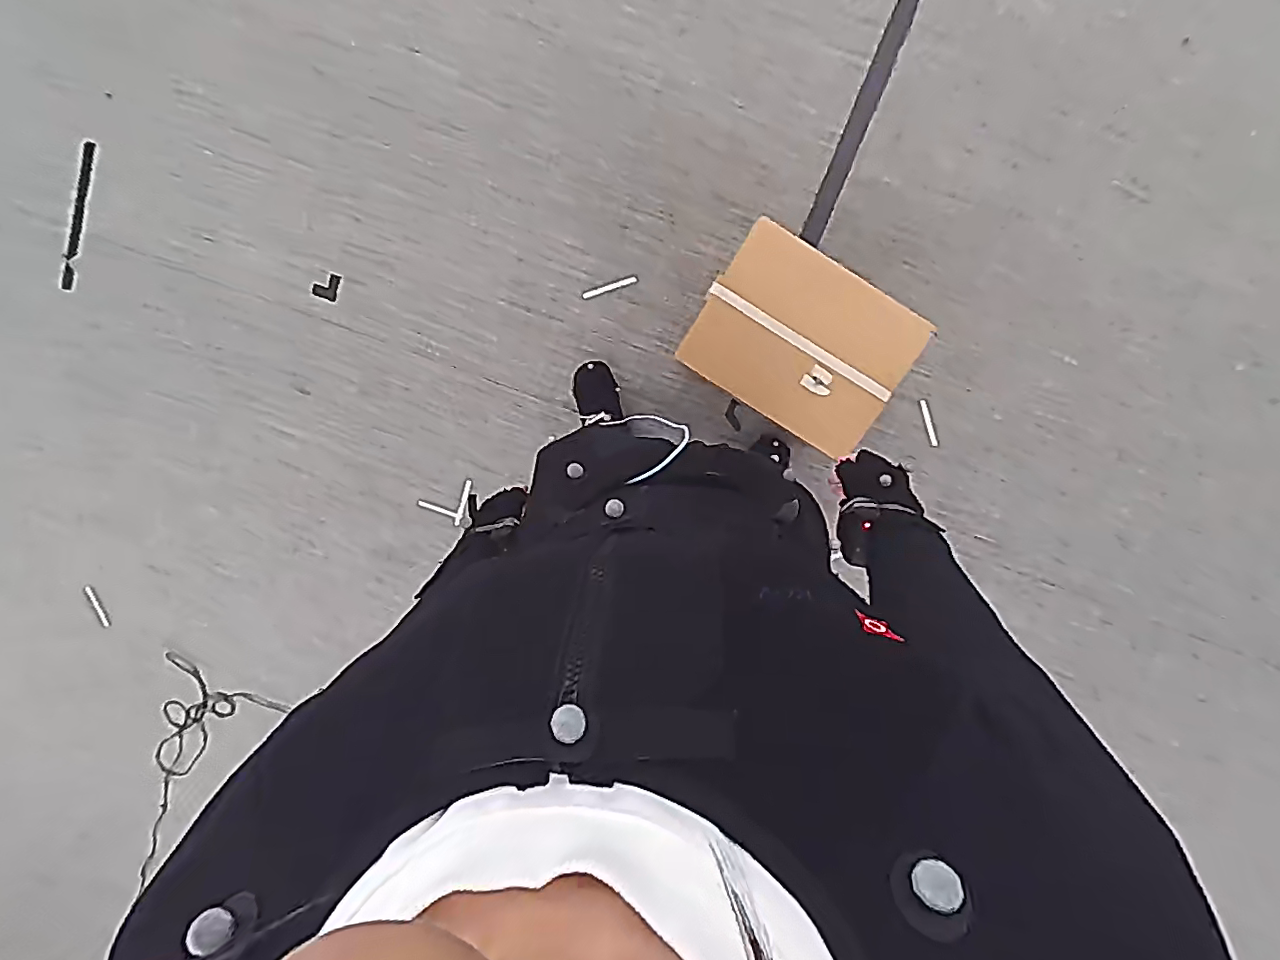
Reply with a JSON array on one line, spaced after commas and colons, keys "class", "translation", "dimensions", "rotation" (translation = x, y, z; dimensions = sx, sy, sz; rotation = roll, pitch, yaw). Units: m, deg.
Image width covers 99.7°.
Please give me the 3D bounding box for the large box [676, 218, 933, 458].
[{"class": "large box", "translation": [0.324, -0.298, 1.198], "dimensions": [0.408, 0.320, 0.320], "rotation": [32, 102, -2]}]
